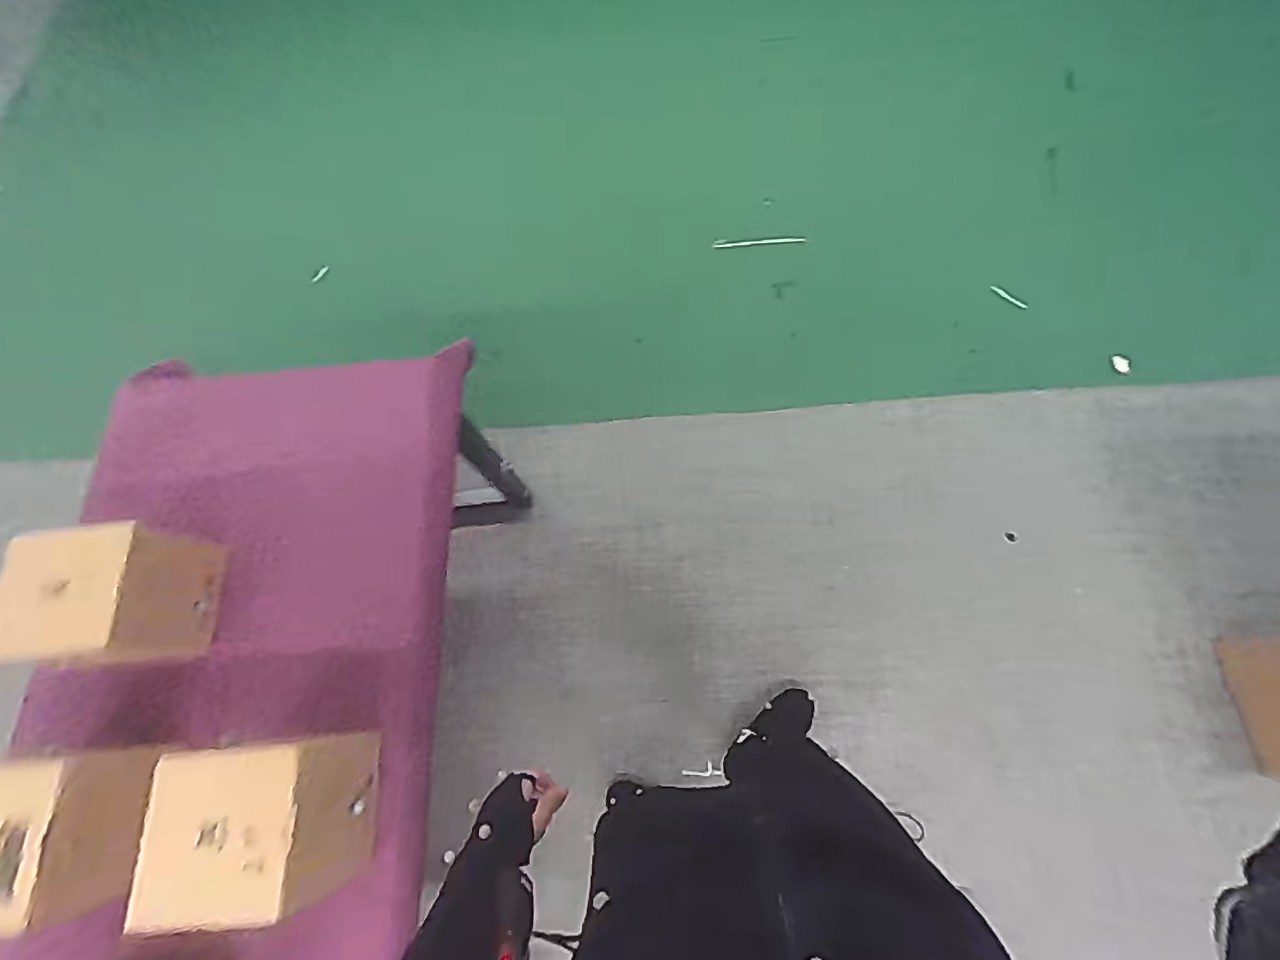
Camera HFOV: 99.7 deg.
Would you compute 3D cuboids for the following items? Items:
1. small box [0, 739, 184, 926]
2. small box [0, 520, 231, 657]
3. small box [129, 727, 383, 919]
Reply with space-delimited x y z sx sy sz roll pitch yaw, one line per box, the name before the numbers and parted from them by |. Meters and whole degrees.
small box | -0.734 0.430 0.682 0.179 0.176 0.168 -6 70 3
small box | -0.749 0.163 0.779 0.179 0.176 0.168 -6 71 2
small box | -0.450 0.405 0.665 0.179 0.176 0.168 -6 71 4
